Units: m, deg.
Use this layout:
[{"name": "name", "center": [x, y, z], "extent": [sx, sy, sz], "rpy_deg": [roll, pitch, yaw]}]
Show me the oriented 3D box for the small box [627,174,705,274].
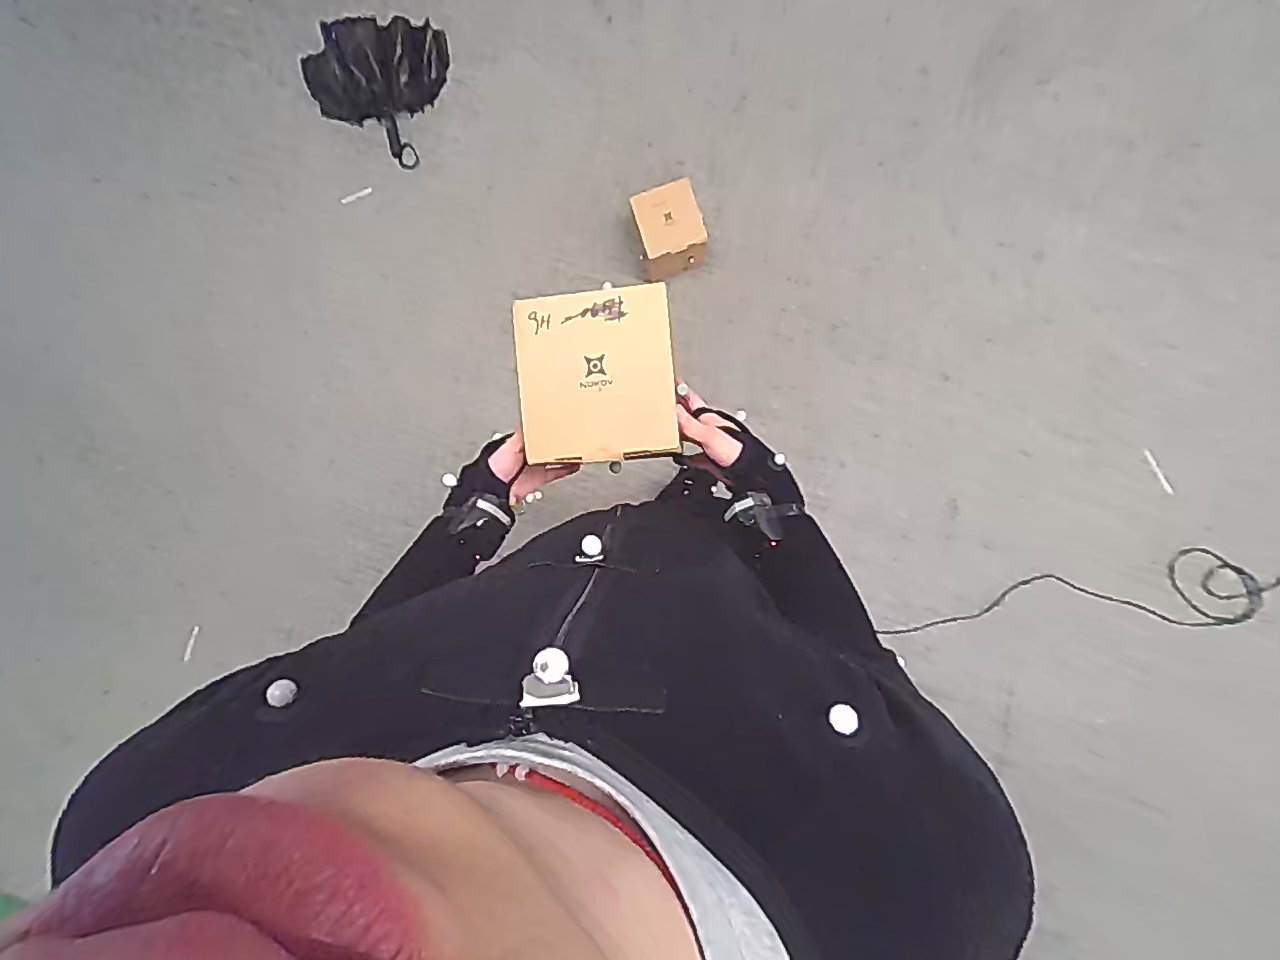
[{"name": "small box", "center": [0.072, -0.694, 1.493], "extent": [0.168, 0.176, 0.179], "rpy_deg": [-19, 87, 1]}]
